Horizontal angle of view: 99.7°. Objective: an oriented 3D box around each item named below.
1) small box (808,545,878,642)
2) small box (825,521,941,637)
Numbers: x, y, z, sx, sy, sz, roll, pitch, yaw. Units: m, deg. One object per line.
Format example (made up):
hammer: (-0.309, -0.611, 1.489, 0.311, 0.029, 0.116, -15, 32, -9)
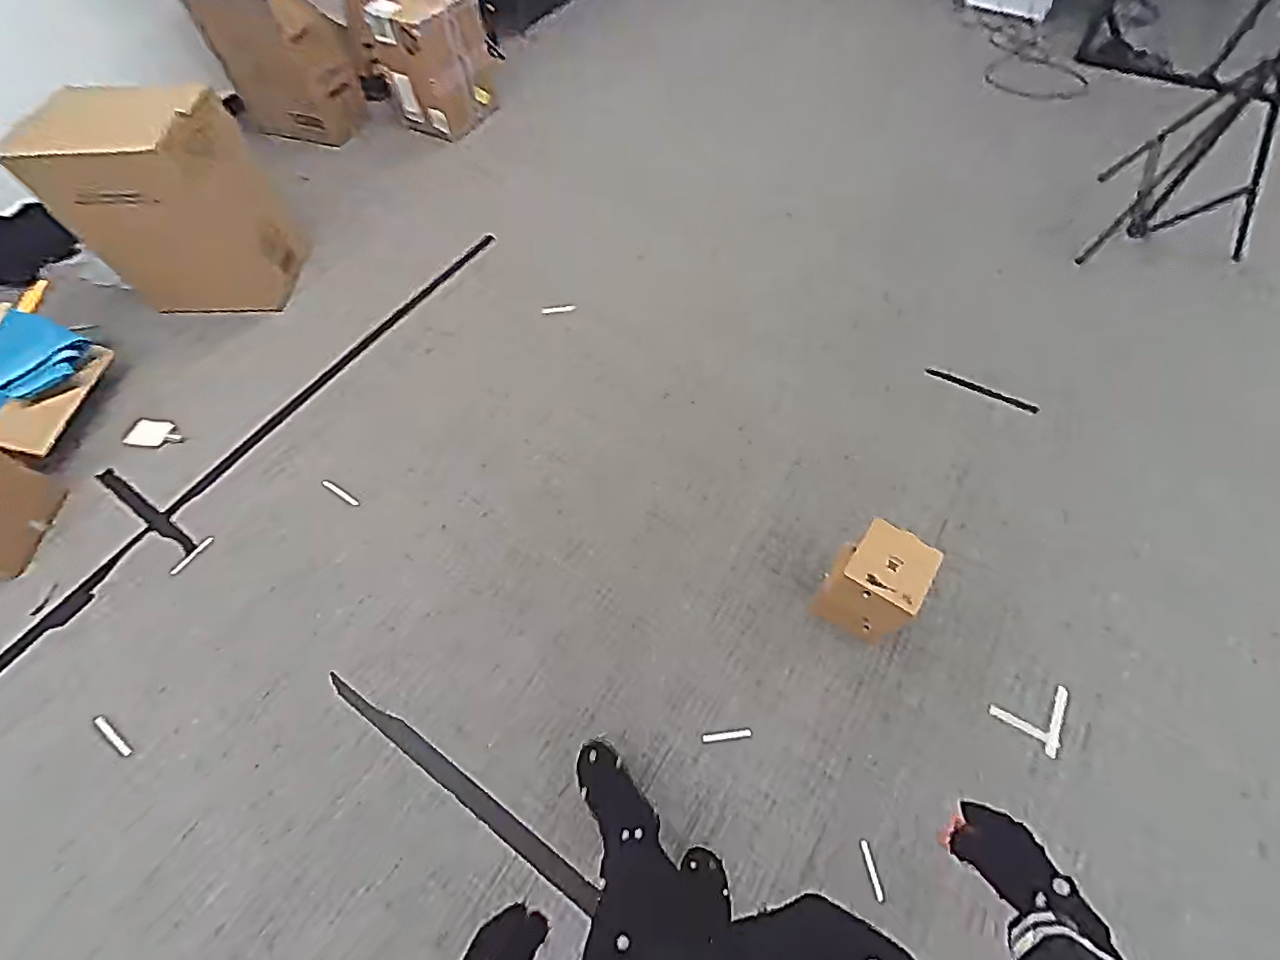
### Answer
small box: (0.564, 0.303, 1.410, 0.179, 0.176, 0.168, 25, 63, 17)
small box: (0.557, 0.234, 1.261, 0.168, 0.176, 0.179, 31, 64, 19)
